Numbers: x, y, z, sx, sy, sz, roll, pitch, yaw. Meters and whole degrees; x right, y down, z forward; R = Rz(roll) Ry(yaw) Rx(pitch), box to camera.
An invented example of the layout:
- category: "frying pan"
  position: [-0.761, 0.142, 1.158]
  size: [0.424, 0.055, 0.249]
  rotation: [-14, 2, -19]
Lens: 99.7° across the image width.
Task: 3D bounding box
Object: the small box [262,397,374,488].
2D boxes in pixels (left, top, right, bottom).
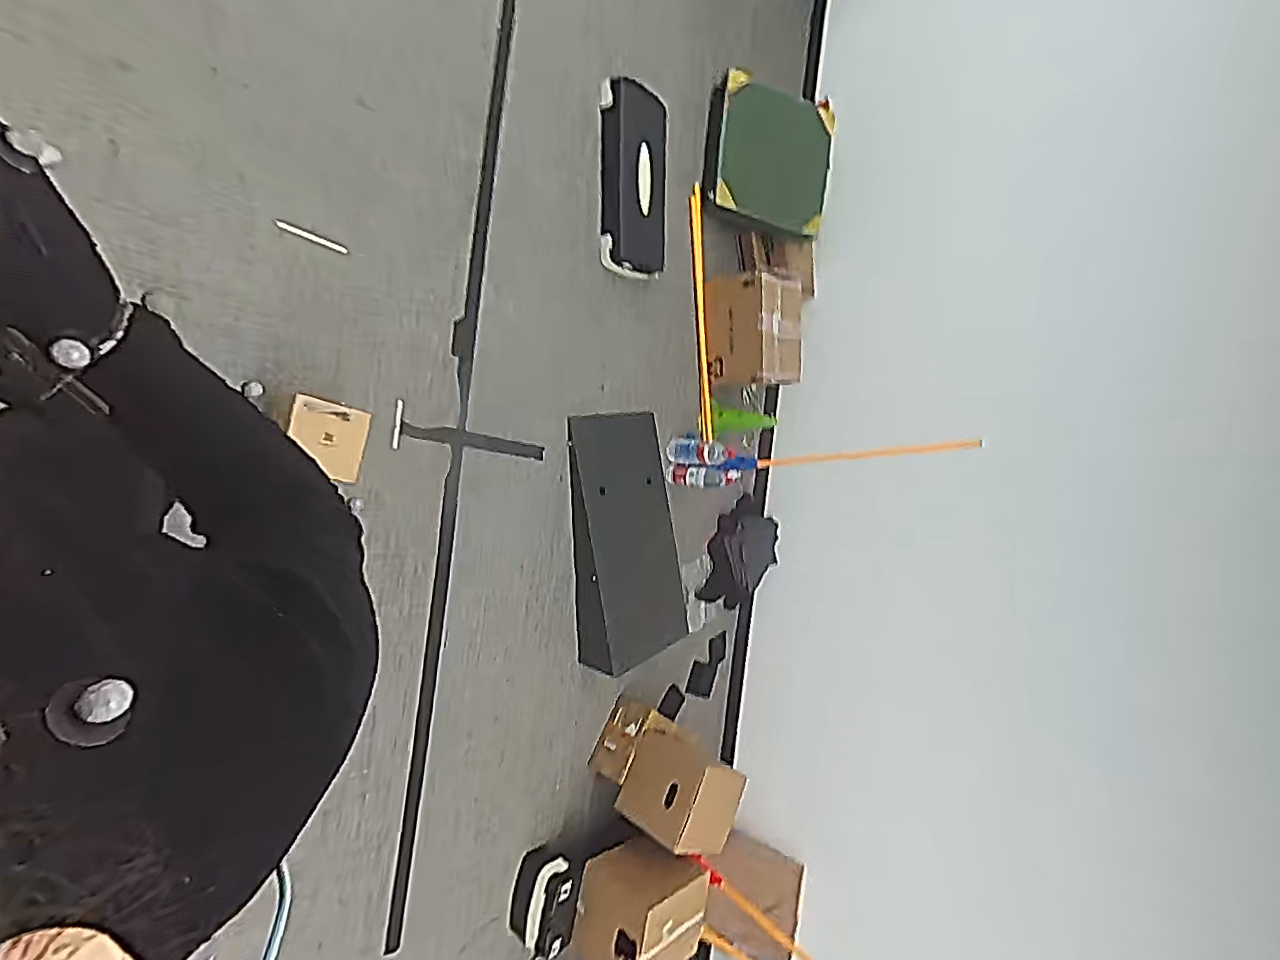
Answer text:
- category: "small box"
  position: [-0.769, -0.090, 1.287]
  size: [0.168, 0.176, 0.179]
  rotation: [18, 82, -49]
